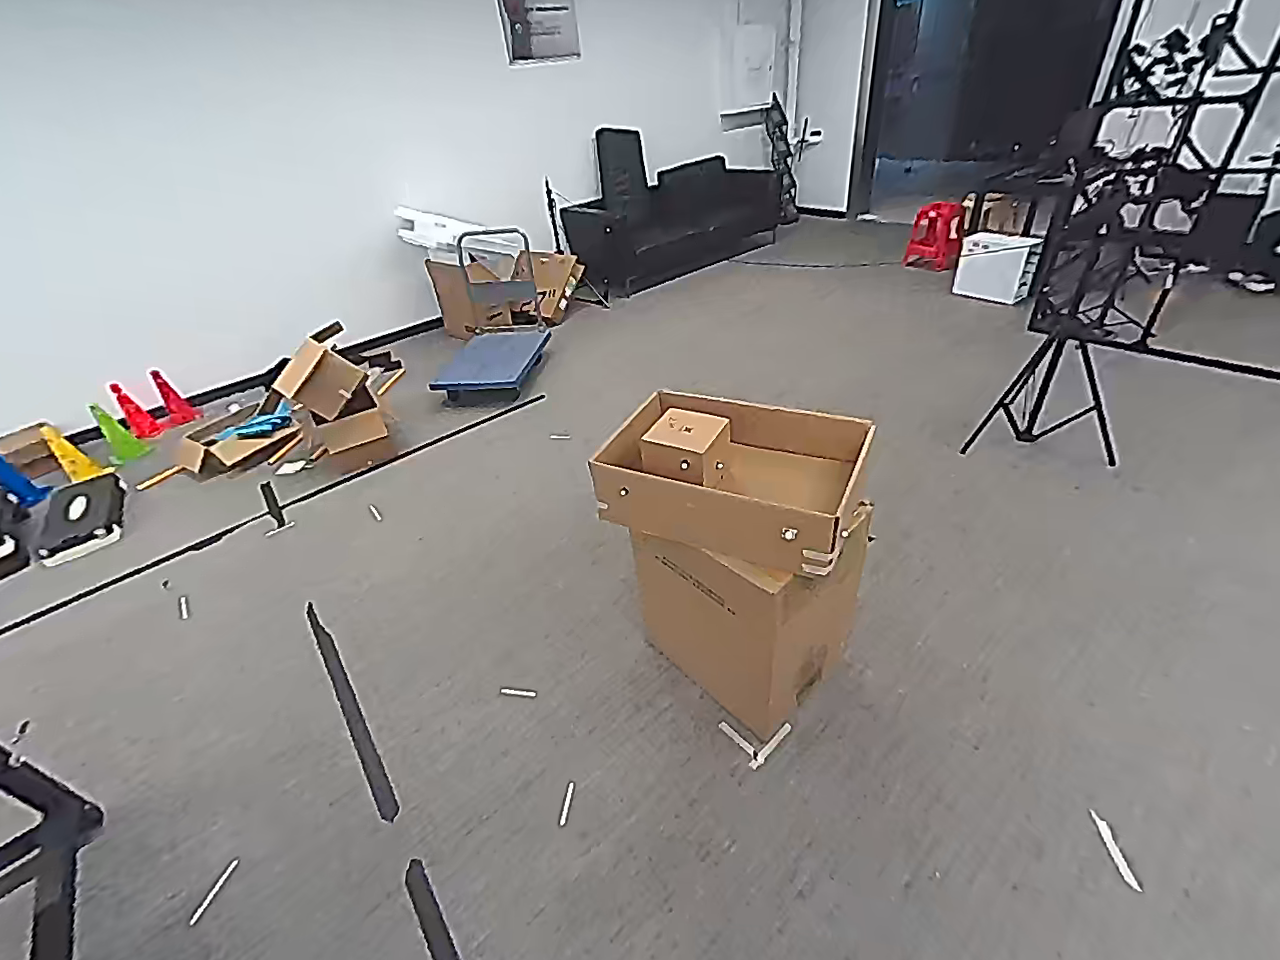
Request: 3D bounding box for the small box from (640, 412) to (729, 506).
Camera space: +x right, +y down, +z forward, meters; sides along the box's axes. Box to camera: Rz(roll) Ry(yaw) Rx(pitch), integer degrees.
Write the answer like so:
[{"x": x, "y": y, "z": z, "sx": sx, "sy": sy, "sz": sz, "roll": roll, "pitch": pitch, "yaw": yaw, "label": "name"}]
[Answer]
[{"x": 0.122, "y": -0.054, "z": 1.413, "sx": 0.179, "sy": 0.176, "sz": 0.168, "roll": 14, "pitch": 42, "yaw": 28, "label": "small box"}]
